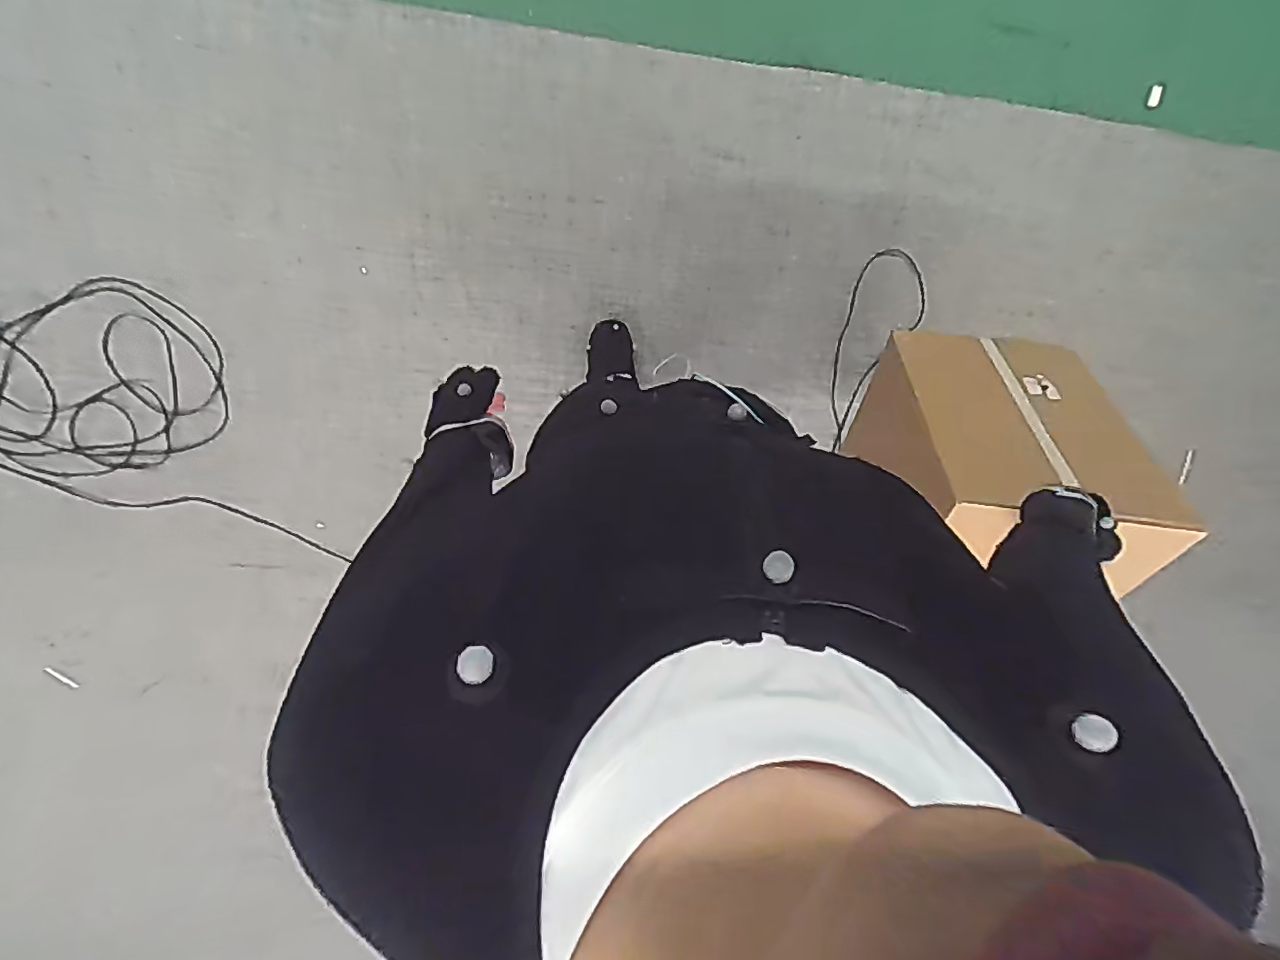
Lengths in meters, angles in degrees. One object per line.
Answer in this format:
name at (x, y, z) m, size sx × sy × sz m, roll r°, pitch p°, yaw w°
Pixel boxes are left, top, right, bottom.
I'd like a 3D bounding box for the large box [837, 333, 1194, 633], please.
large box at (0.561, 0.000, 0.926) m, size 0.320 × 0.408 × 0.320 m, roll 8°, pitch 136°, yaw 2°
